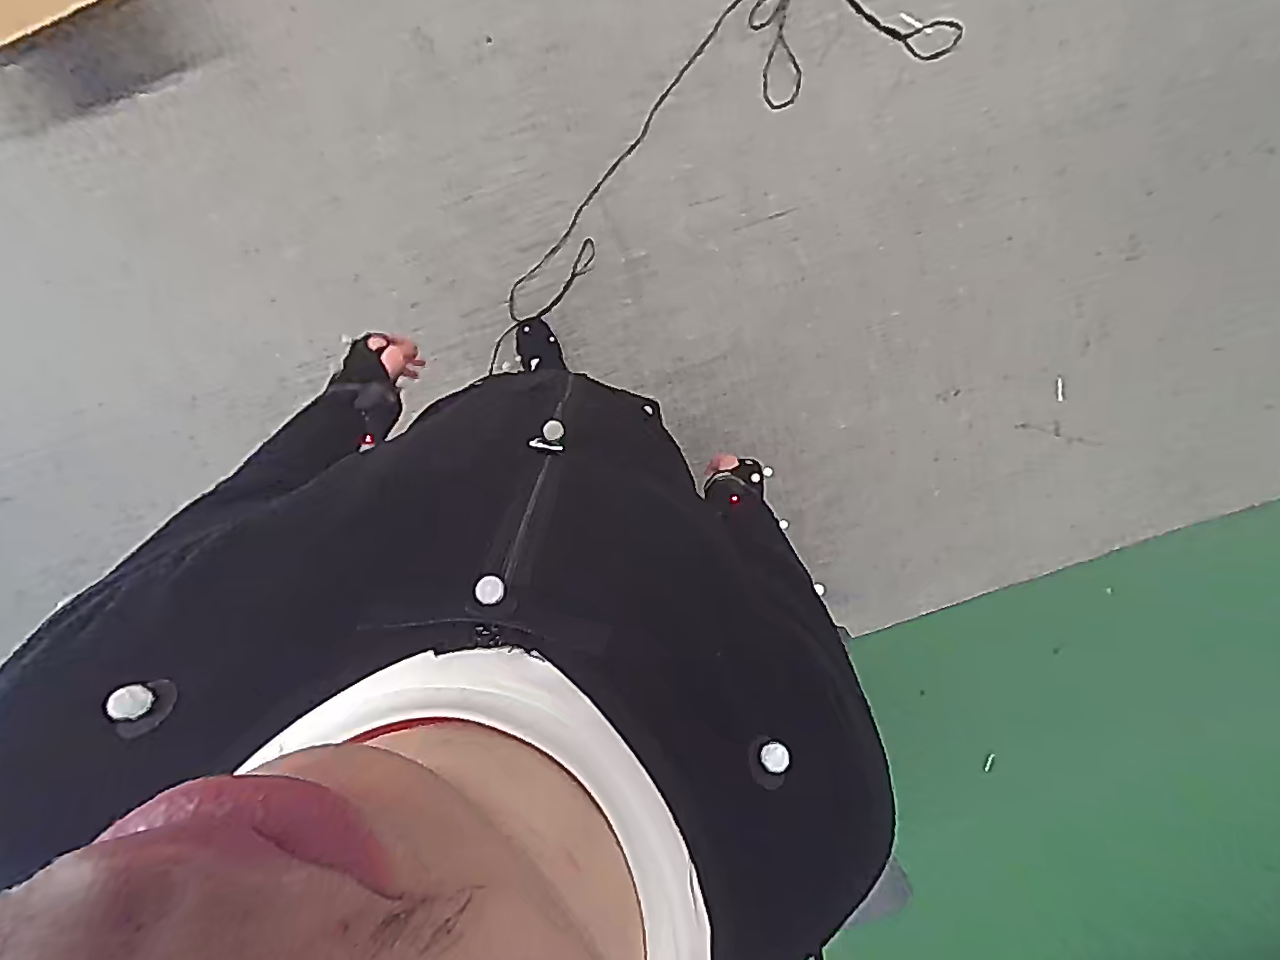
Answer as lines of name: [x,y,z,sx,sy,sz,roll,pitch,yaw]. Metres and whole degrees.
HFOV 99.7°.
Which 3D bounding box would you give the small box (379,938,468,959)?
small box: [-0.387,0.945,0.933,0.168,0.176,0.179,-25,105,2]
